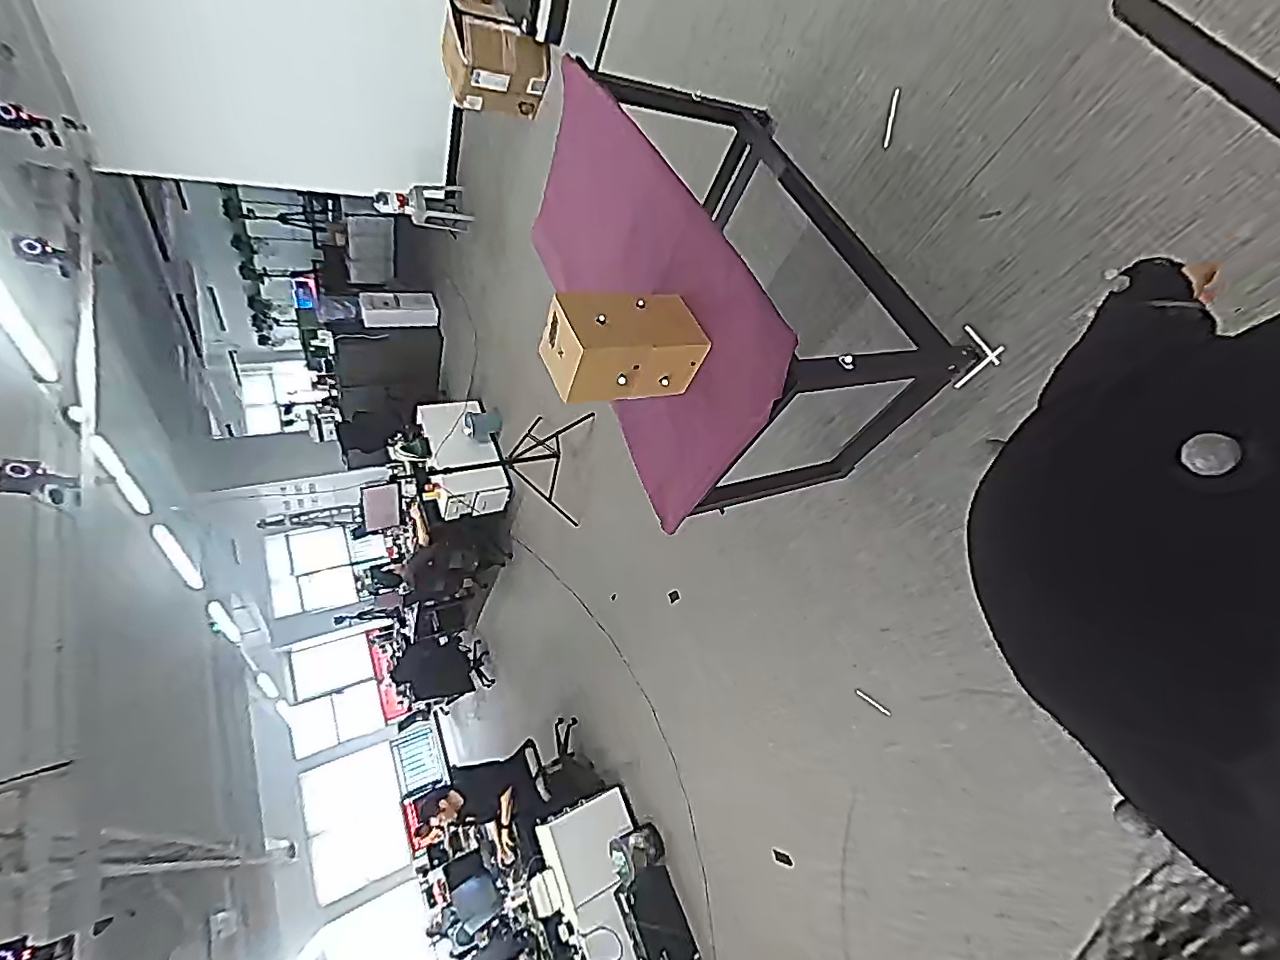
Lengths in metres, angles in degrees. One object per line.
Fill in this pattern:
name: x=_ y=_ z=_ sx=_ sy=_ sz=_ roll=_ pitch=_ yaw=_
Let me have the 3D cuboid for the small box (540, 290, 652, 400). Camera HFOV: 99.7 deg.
small box: x=-0.100 y=-0.298 z=1.198 sx=0.179 sy=0.176 sz=0.168 roll=62 pitch=146 yaw=25

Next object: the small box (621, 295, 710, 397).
small box: x=0.039 y=-0.321 z=1.284 sx=0.179 sy=0.176 sz=0.168 roll=63 pitch=146 yaw=25
